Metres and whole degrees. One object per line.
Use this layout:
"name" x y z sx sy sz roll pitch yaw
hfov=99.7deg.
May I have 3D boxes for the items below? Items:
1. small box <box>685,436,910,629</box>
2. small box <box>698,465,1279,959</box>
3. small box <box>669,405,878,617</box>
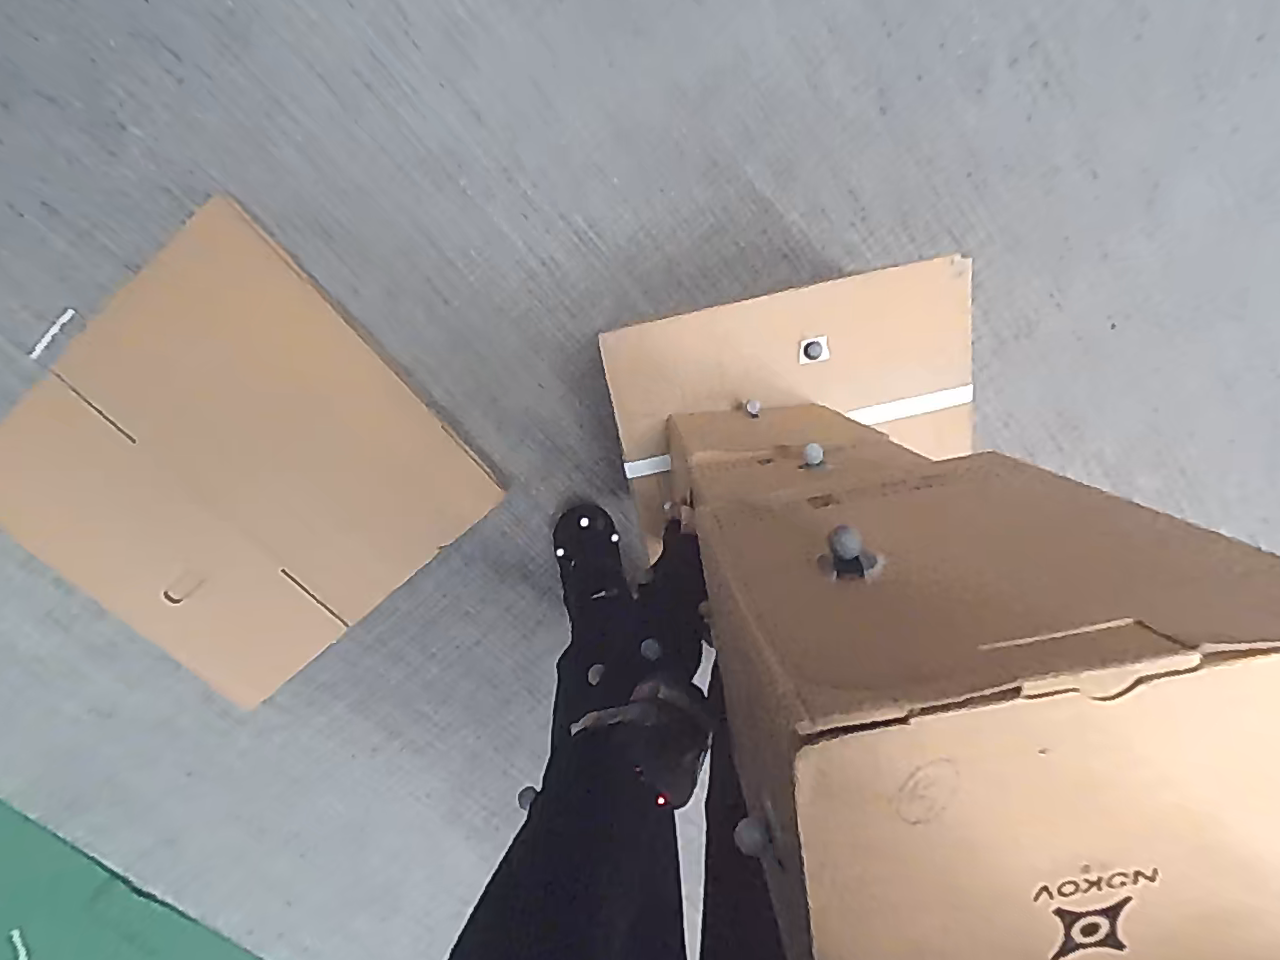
"small box" 0.135 0.083 0.411 0.168 0.176 0.179 -13 109 2
"small box" 0.127 0.102 0.248 0.168 0.176 0.179 -12 108 2
"small box" 0.127 0.020 0.568 0.179 0.176 0.168 -8 106 -2
